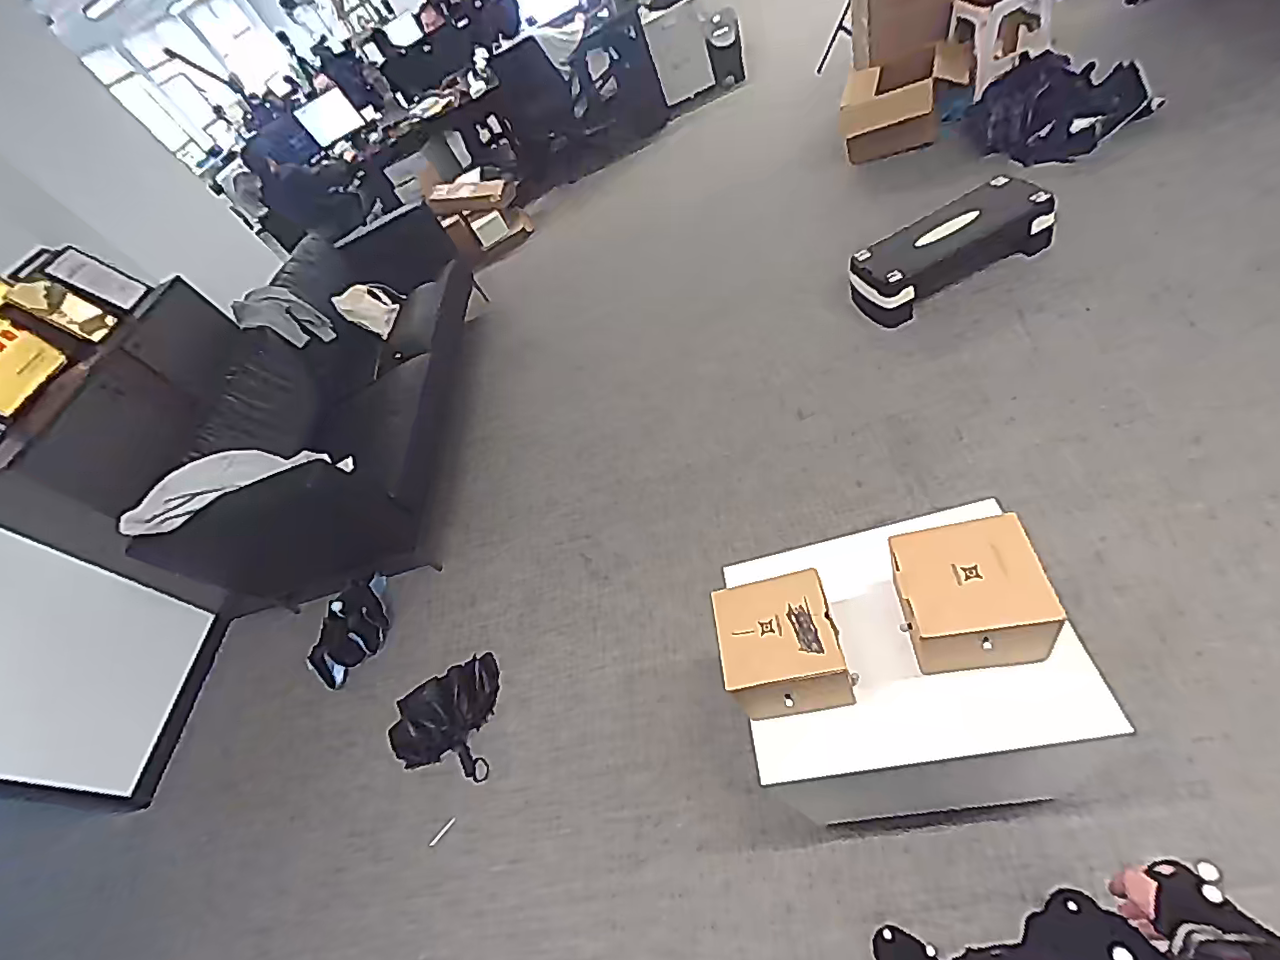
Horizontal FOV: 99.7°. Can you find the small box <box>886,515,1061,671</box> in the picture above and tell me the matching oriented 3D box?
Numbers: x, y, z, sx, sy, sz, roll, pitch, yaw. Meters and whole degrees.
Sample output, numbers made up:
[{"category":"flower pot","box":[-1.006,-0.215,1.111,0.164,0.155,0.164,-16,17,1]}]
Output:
[{"category":"small box","box":[0.490,0.178,0.819,0.179,0.176,0.168,-14,51,18]}]

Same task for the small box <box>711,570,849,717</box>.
[{"category":"small box","box":[0.231,0.271,0.881,0.179,0.176,0.168,-17,48,16]}]
